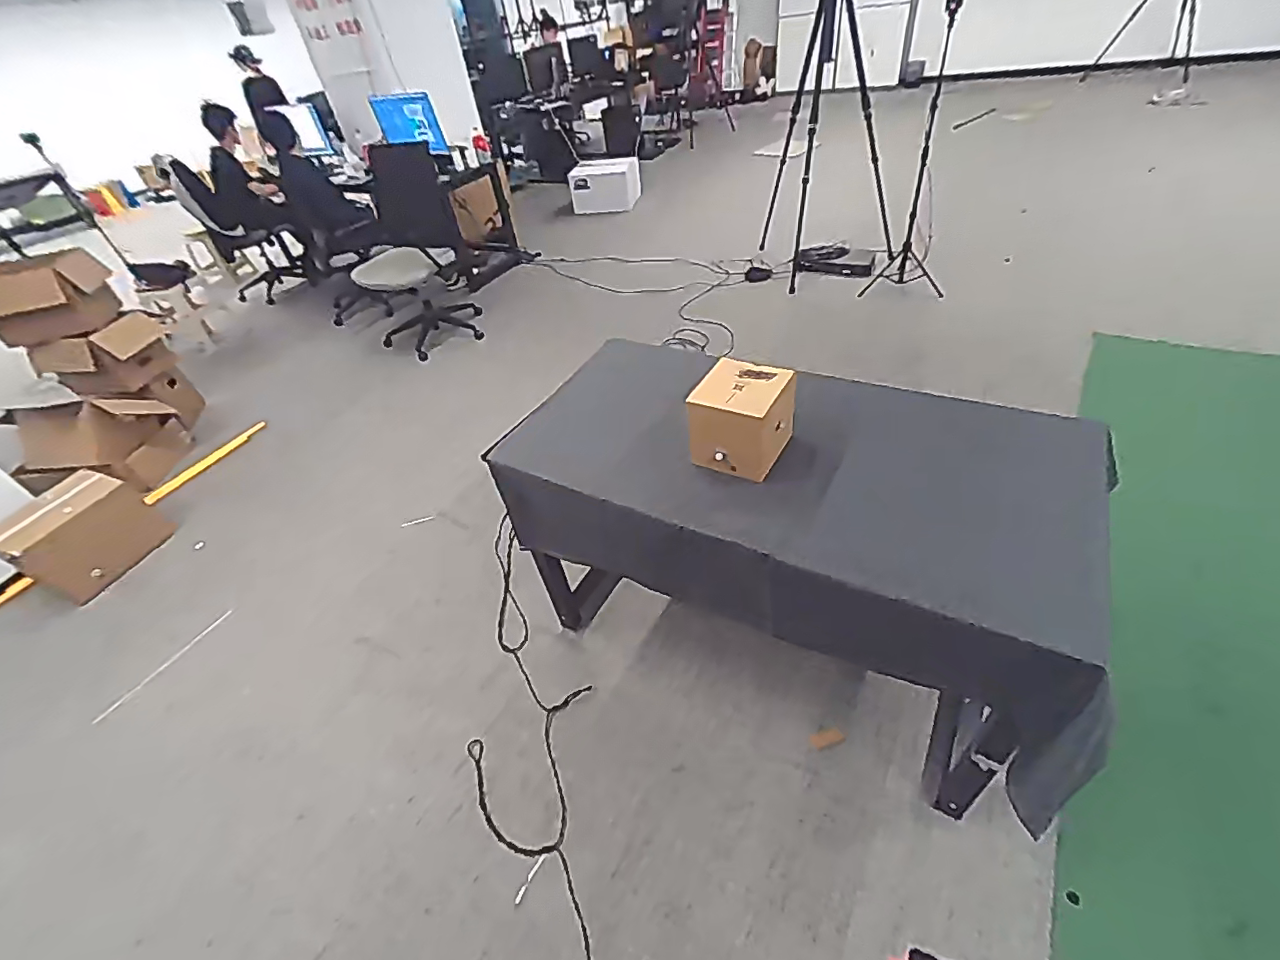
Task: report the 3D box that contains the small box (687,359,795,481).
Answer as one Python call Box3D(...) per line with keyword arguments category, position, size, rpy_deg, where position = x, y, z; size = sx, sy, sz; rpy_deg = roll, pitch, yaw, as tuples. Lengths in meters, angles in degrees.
Box3D(category="small box", position=(0.212, -0.128, 1.139), size=(0.168, 0.176, 0.179), rpy_deg=(18, 48, 28))
